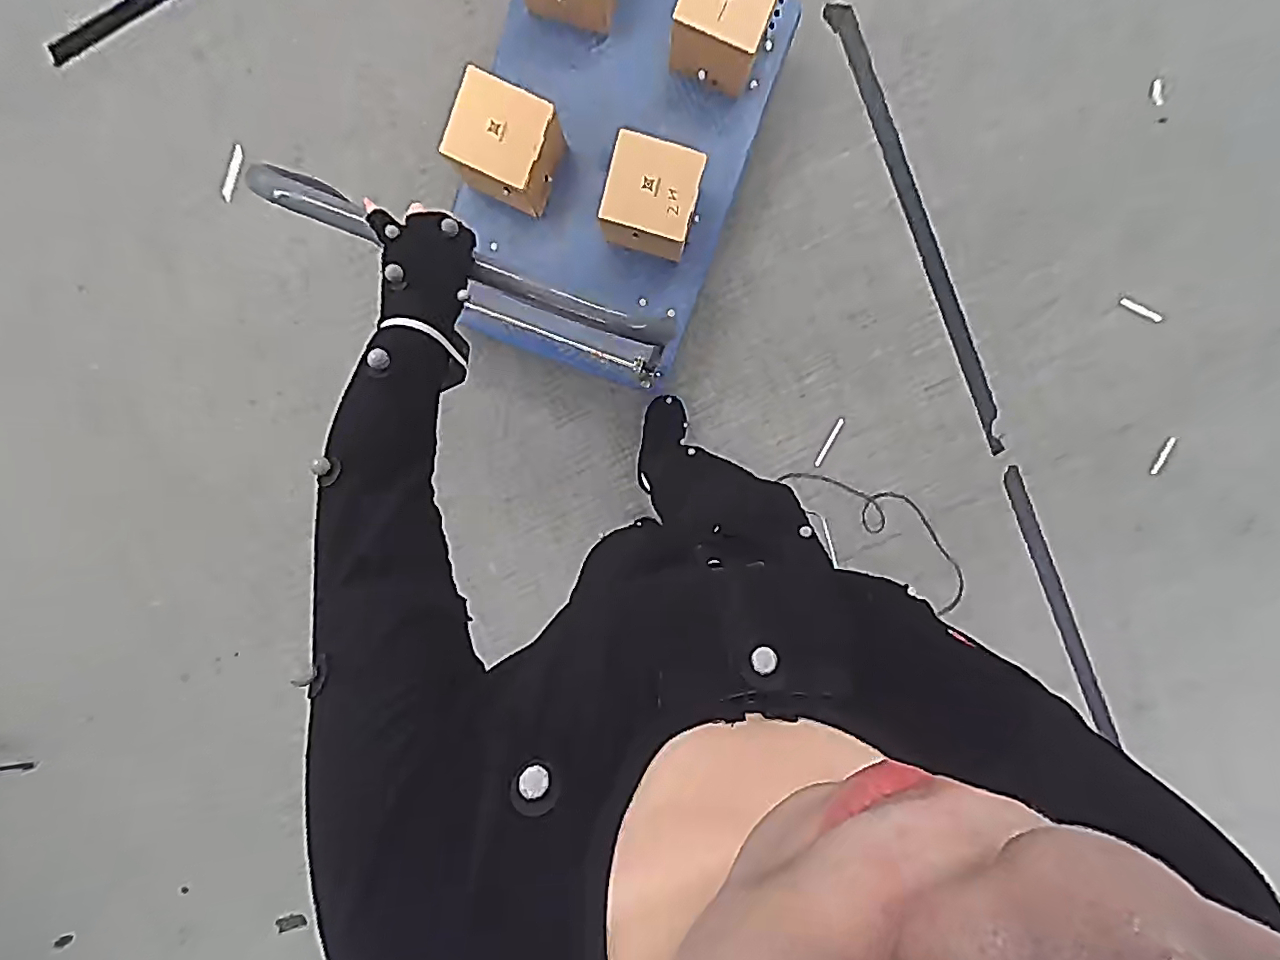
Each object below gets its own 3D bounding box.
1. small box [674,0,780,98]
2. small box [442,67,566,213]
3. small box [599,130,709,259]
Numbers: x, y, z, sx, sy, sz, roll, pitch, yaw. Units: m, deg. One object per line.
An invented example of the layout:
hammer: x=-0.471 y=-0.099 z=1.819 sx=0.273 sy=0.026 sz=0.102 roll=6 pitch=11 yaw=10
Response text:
small box: x=0.170 y=-0.899 z=1.049 sx=0.168 sy=0.176 sz=0.179 roll=22 pitch=100 yaw=-3
small box: x=-0.265 y=-0.670 z=1.093 sx=0.179 sy=0.176 sz=0.168 roll=23 pitch=99 yaw=-5
small box: x=0.027 y=-0.570 z=1.106 sx=0.179 sy=0.176 sz=0.168 roll=16 pitch=100 yaw=-2
